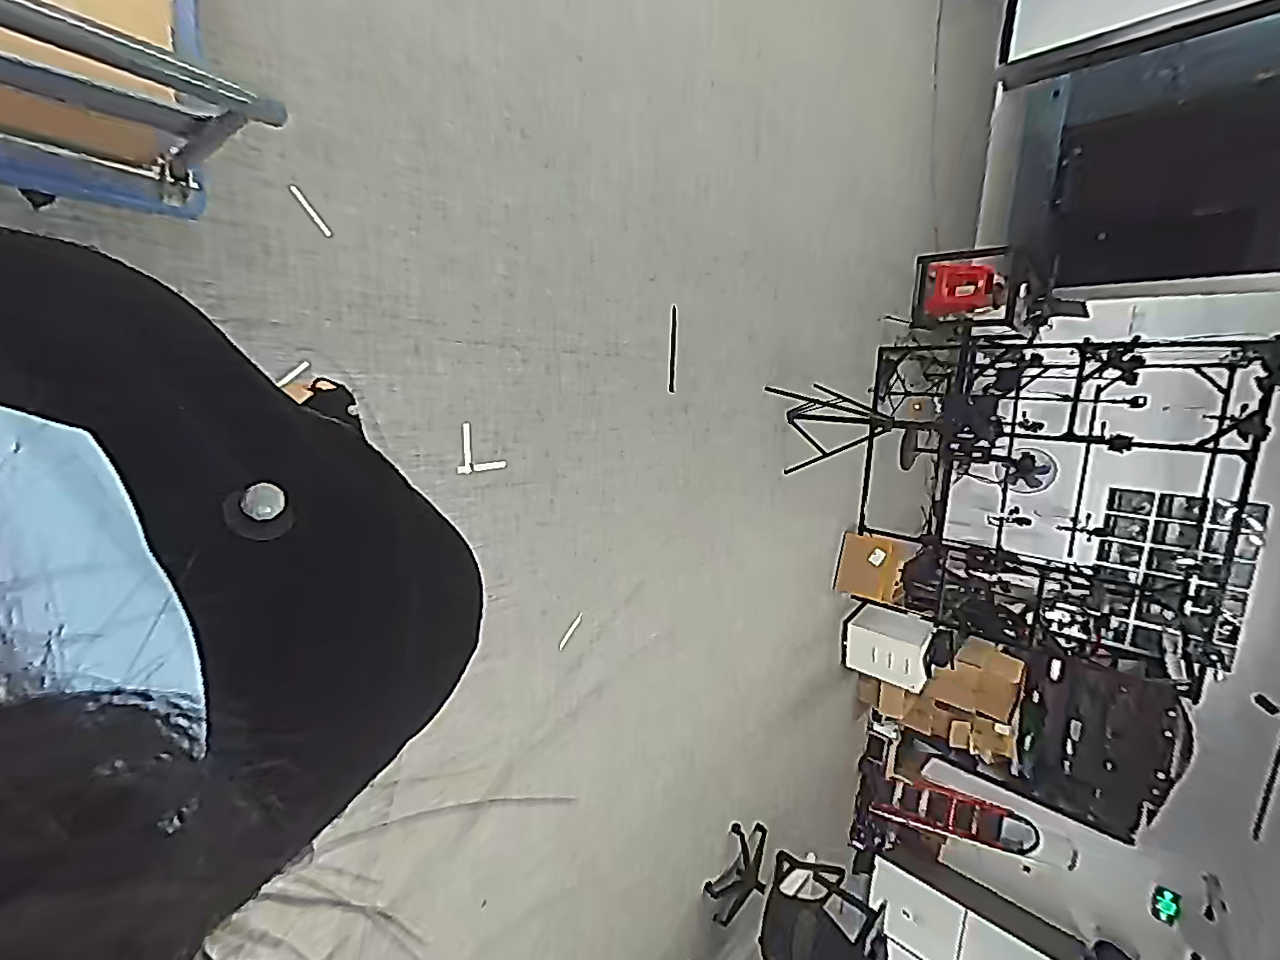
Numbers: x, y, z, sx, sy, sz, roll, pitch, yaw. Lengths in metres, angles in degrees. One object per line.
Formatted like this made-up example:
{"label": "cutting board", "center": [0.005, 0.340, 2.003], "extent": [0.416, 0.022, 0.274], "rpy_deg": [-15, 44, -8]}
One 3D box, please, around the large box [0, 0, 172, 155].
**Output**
{"label": "large box", "center": [-0.900, -0.681, 0.689], "extent": [0.408, 0.320, 0.320], "rpy_deg": [-7, 104, -49]}
